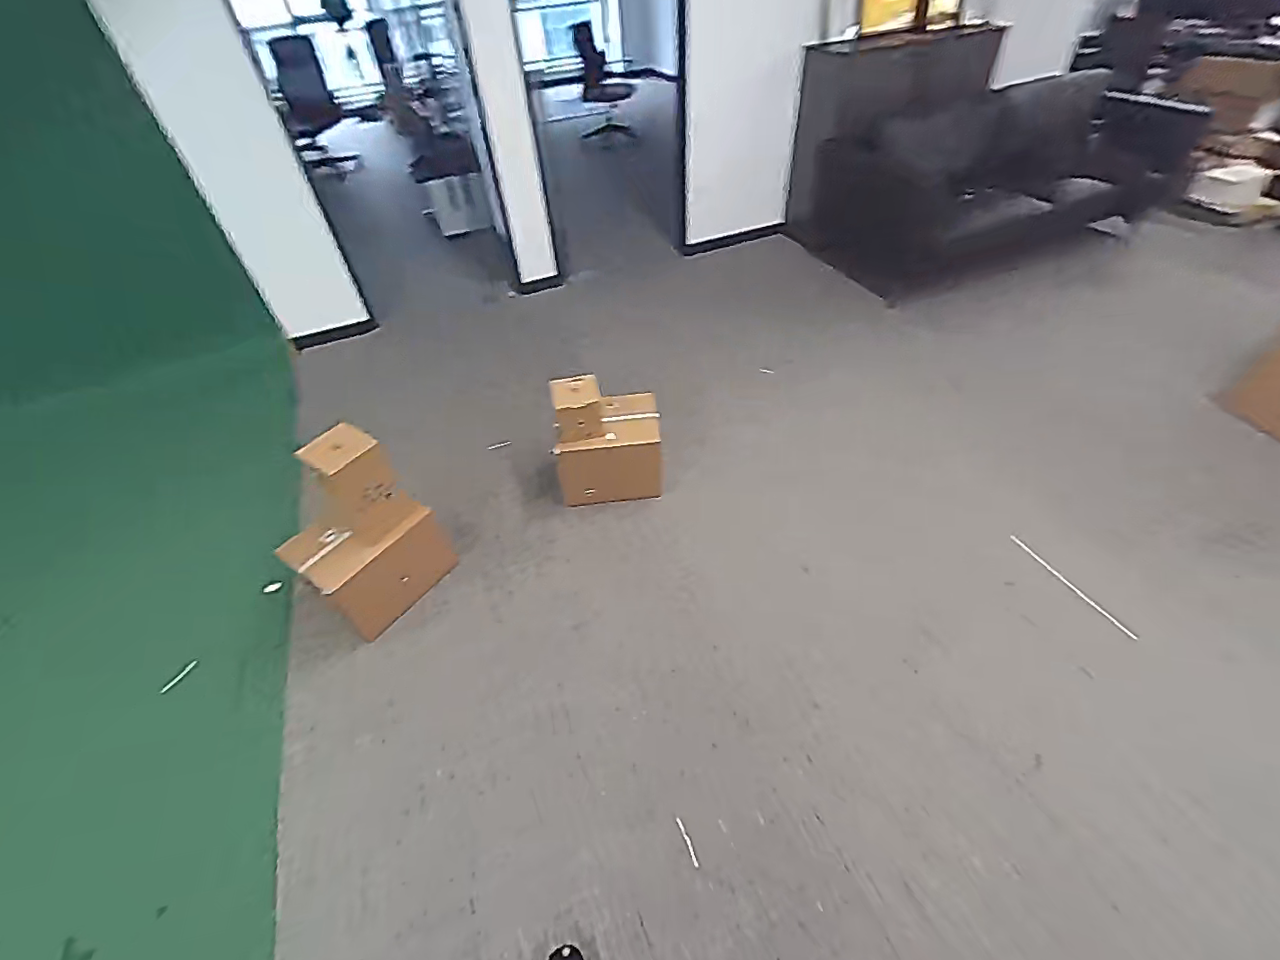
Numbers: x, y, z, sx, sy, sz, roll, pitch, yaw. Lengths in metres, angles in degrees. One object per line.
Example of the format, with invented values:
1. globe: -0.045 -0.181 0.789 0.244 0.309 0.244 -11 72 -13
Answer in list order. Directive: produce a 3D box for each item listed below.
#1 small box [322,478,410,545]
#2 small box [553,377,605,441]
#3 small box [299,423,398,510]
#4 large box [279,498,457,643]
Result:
1. small box: -0.875 0.074 1.752 0.168 0.176 0.179 24 52 25
2. small box: -0.229 -0.262 2.039 0.168 0.176 0.179 -10 47 -7
3. small box: -0.876 -0.038 1.634 0.179 0.176 0.168 26 53 25
4. large box: -0.928 0.280 1.900 0.320 0.320 0.408 23 52 26
